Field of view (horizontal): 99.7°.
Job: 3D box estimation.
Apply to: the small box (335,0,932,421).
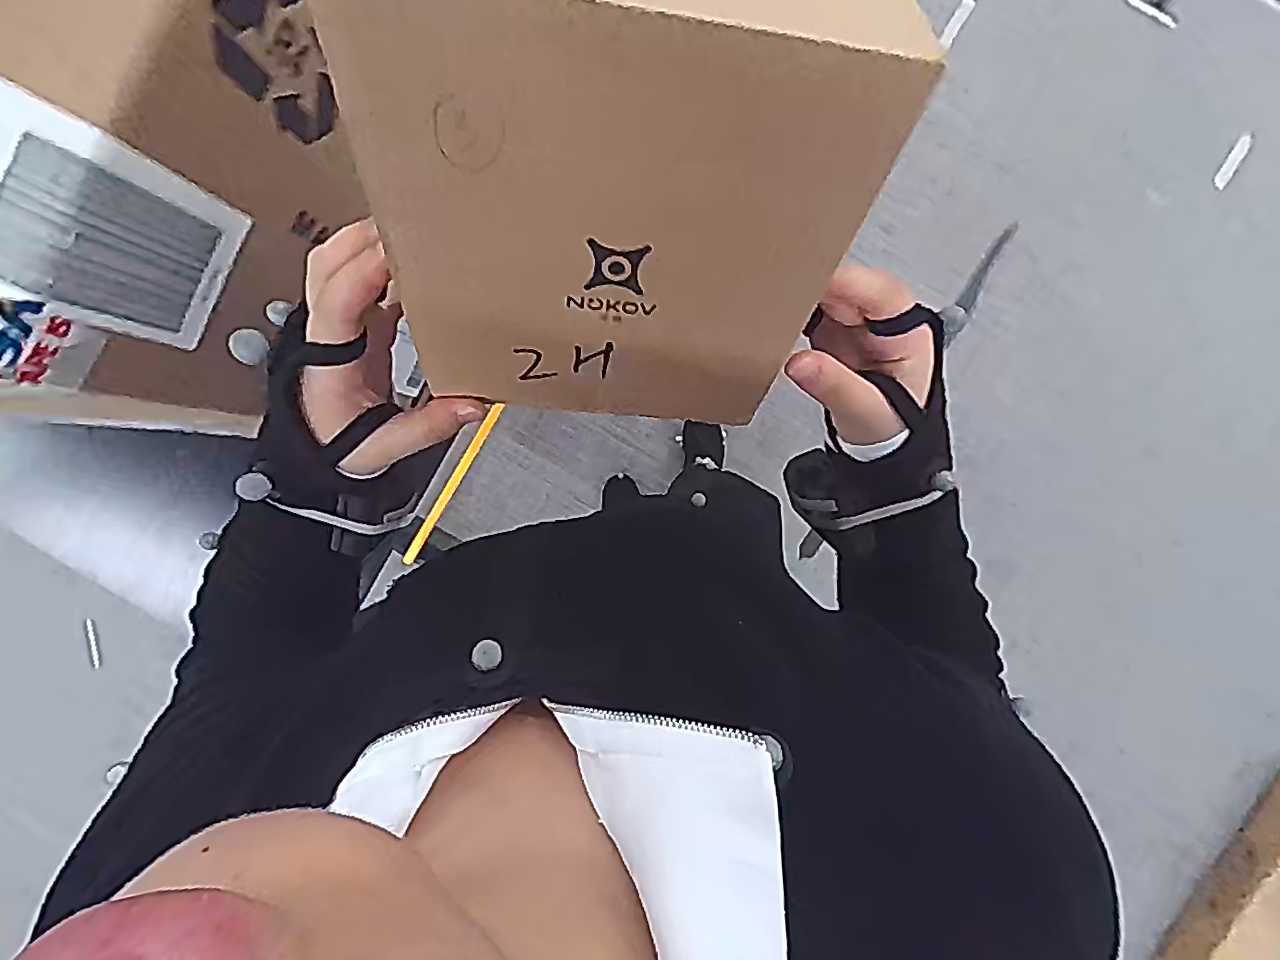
[{"bbox_3d":[-0.010,-0.151,0.251,0.168,0.179,0.176,5,60,-7],"label":"small box"}]
